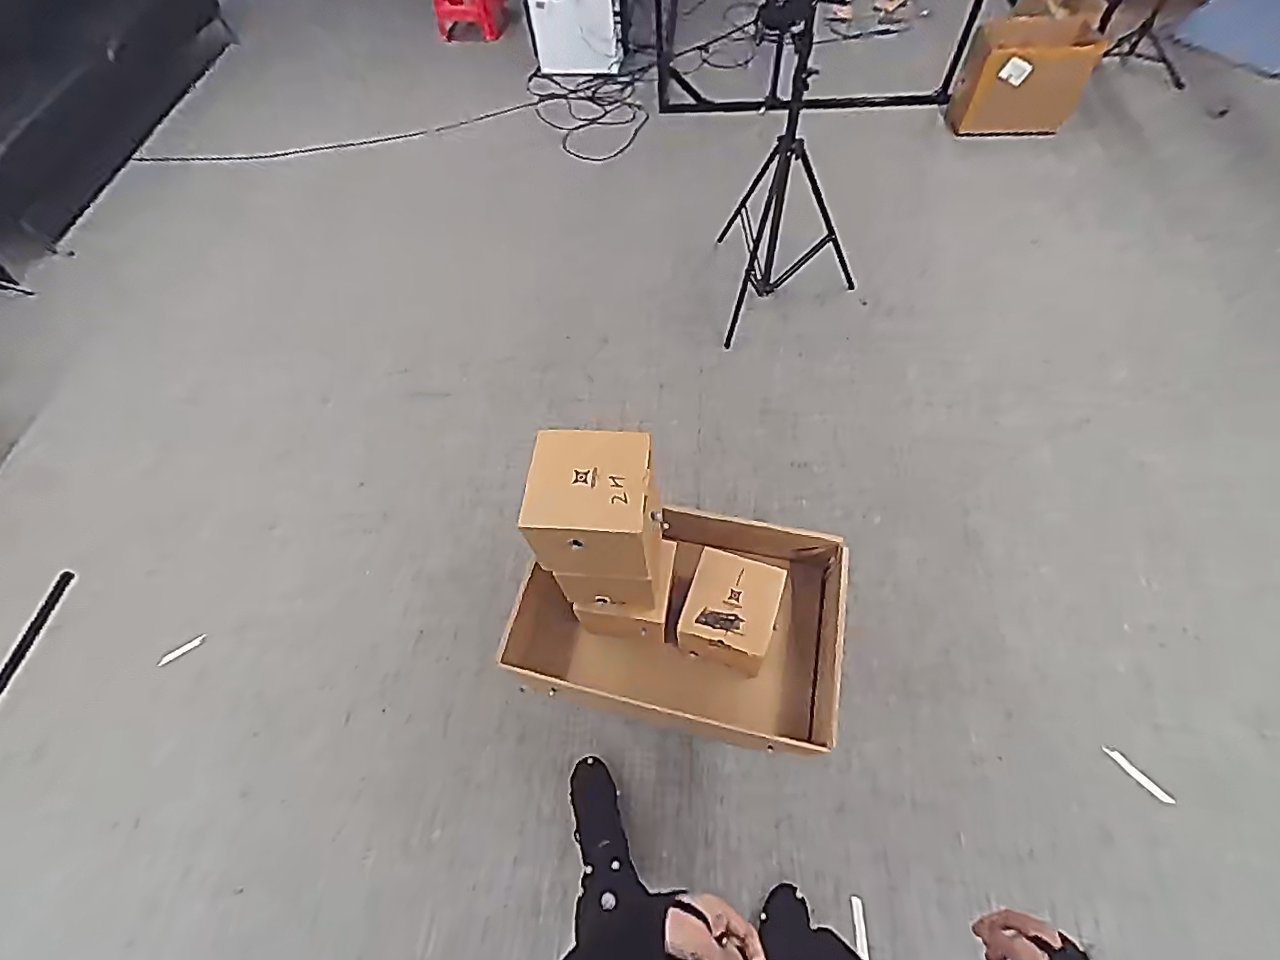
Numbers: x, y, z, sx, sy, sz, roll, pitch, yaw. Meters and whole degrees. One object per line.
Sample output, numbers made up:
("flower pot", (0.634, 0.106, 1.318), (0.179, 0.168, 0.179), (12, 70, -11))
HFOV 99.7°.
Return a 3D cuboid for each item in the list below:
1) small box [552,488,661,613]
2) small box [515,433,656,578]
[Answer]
("small box", (-0.051, 0.125, 0.976), (0.168, 0.176, 0.179), (2, 60, 6))
("small box", (-0.072, 0.044, 0.835), (0.179, 0.176, 0.168), (3, 61, 6))
